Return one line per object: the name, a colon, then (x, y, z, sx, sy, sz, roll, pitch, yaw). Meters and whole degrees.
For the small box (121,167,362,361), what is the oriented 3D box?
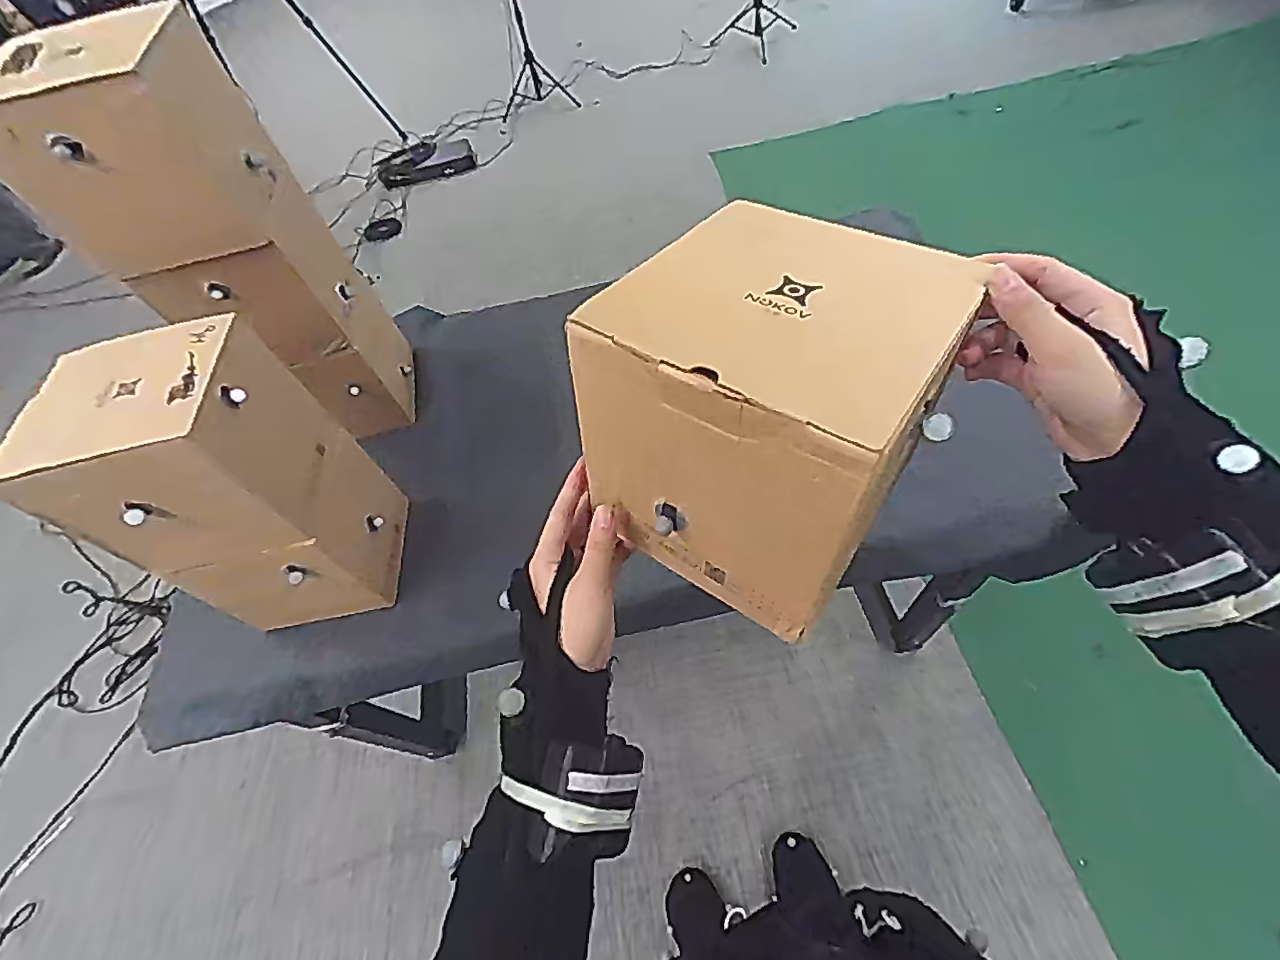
small box: (-0.493, -0.264, 0.701, 0.179, 0.176, 0.168, -15, 59, -2)

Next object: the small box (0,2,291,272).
small box: (-0.508, -0.343, 0.558, 0.179, 0.176, 0.168, -14, 59, -1)

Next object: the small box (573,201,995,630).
small box: (0.080, -0.044, 0.342, 0.168, 0.176, 0.179, 29, 56, 24)

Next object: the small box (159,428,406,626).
small box: (-0.415, 0.063, 0.668, 0.179, 0.176, 0.168, -11, 54, 2)

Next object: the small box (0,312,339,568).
small box: (-0.441, -0.031, 0.538, 0.179, 0.176, 0.168, -15, 54, 0)
